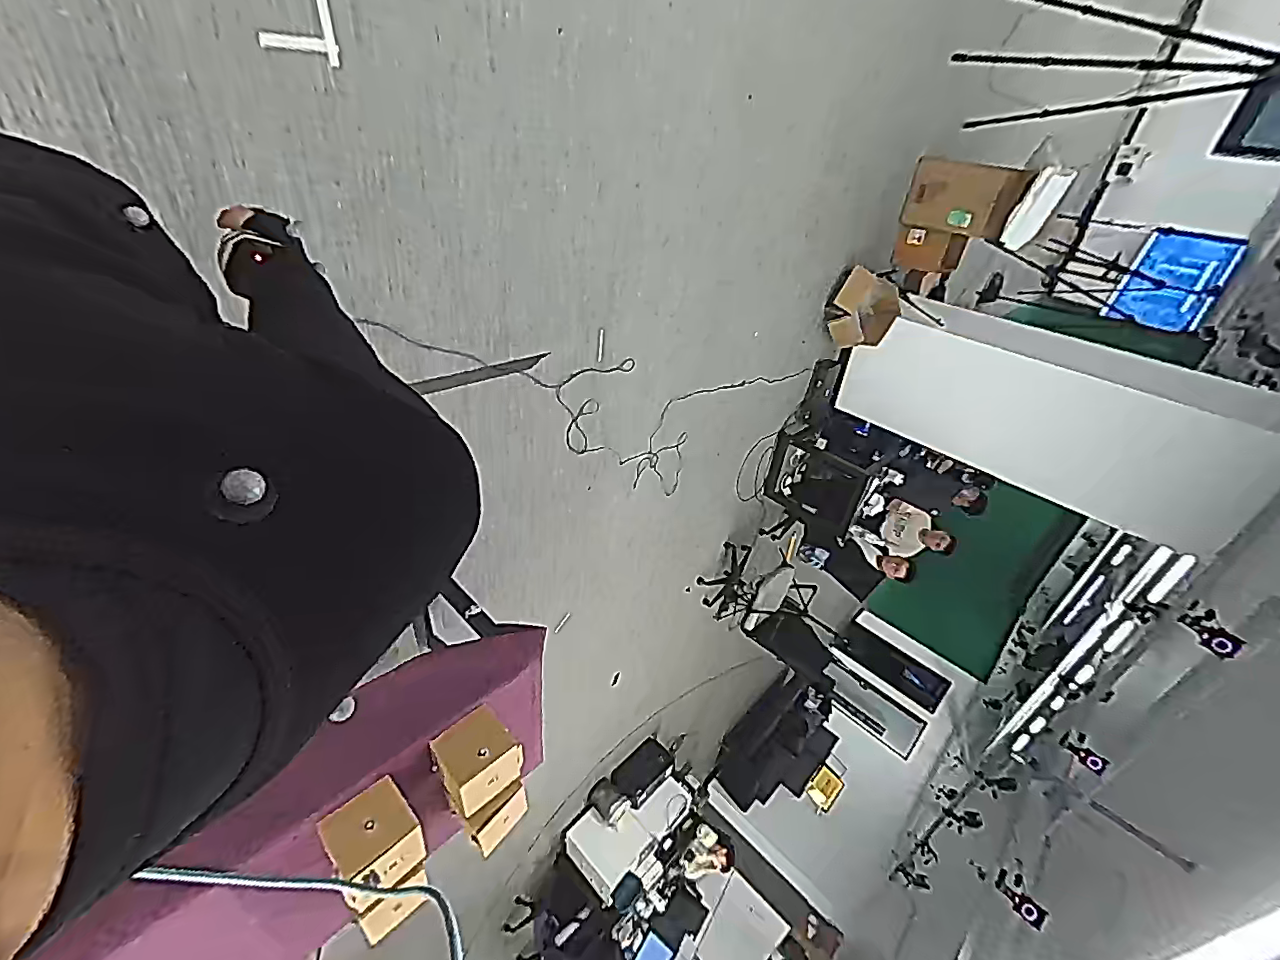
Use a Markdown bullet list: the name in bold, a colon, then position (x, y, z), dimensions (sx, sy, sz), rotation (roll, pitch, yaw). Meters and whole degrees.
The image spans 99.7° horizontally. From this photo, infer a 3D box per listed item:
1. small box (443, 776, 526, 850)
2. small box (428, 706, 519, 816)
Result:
- **small box**: position (-0.470, 0.962, 1.645), dimensions (0.179, 0.176, 0.168), rotation (-29, 137, -37)
- **small box**: position (-0.459, 0.770, 1.499), dimensions (0.179, 0.176, 0.168), rotation (-28, 137, -39)
